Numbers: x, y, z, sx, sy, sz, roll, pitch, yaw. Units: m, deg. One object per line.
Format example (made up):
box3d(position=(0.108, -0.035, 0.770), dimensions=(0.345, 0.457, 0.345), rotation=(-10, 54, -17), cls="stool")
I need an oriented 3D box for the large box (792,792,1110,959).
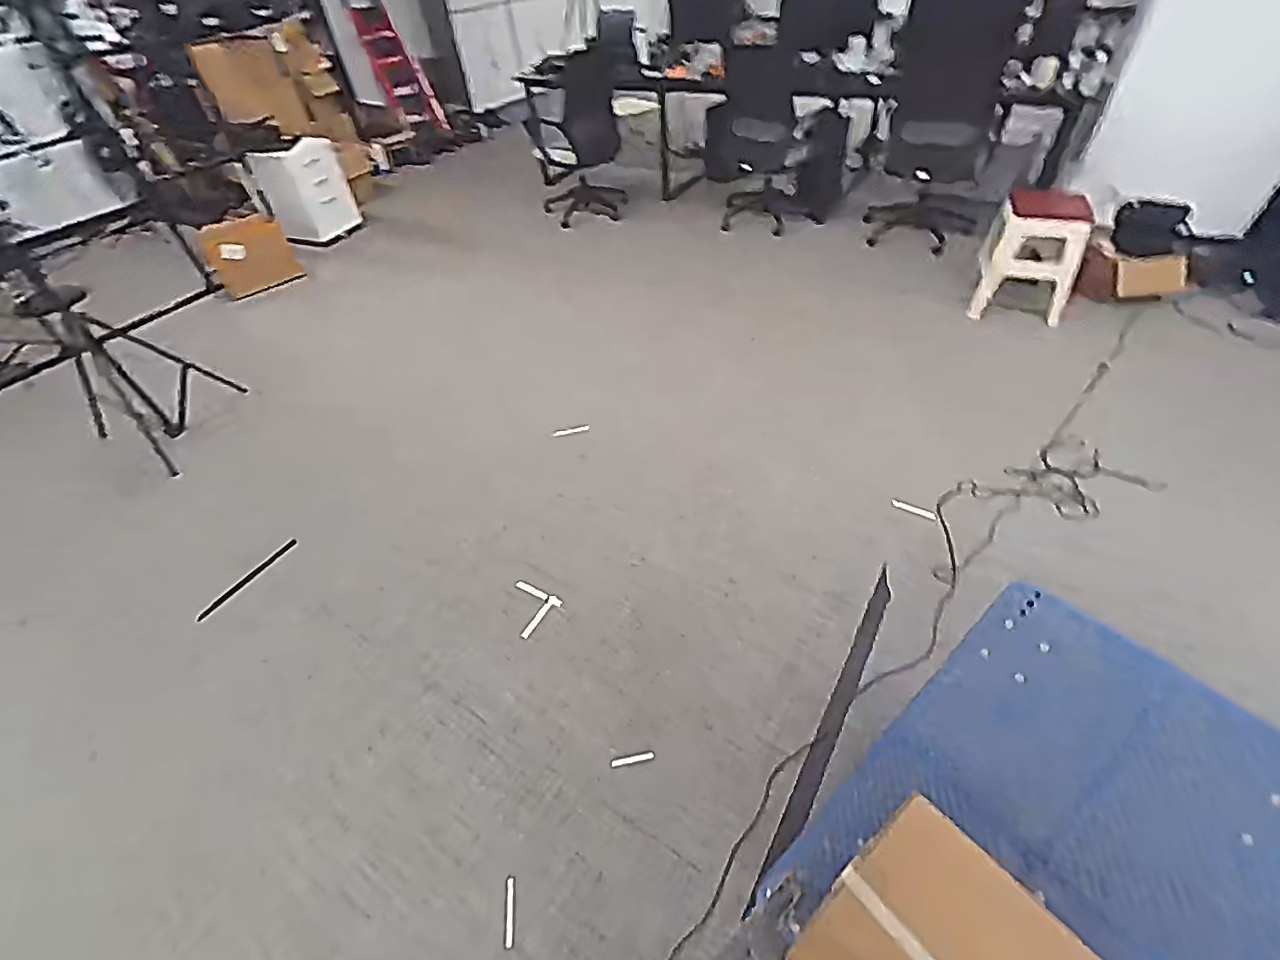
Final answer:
box3d(position=(0.501, 0.753, 0.815), dimensions=(0.320, 0.320, 0.408), rotation=(-48, 55, -5), cls="large box")
